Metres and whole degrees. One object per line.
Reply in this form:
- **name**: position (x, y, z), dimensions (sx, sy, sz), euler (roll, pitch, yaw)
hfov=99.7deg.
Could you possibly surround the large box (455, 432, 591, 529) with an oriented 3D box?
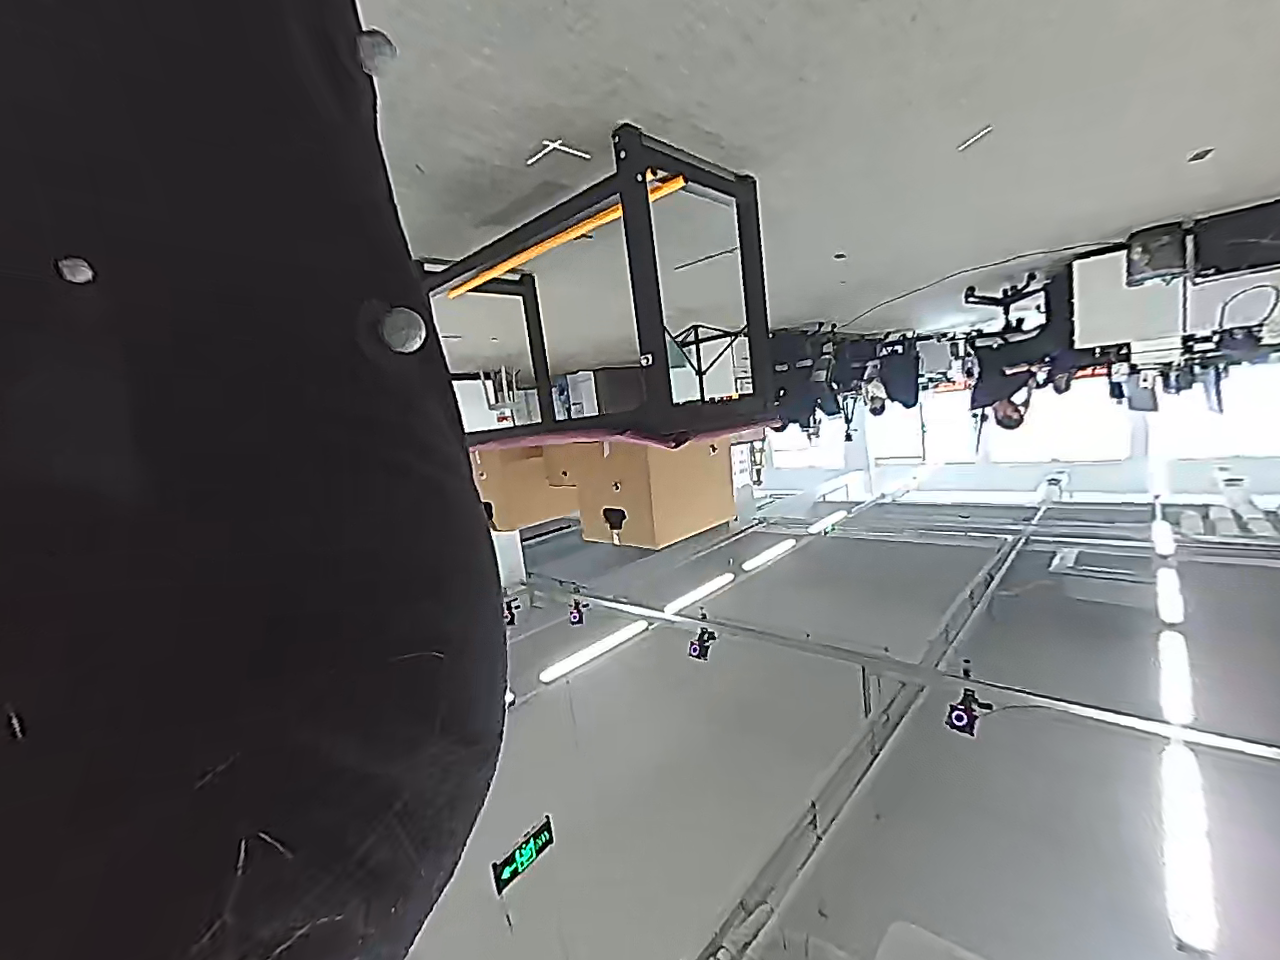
- **large box**: position (-0.467, -0.007, 2.173), dimensions (0.320, 0.320, 0.408), euler (0, -168, 43)
